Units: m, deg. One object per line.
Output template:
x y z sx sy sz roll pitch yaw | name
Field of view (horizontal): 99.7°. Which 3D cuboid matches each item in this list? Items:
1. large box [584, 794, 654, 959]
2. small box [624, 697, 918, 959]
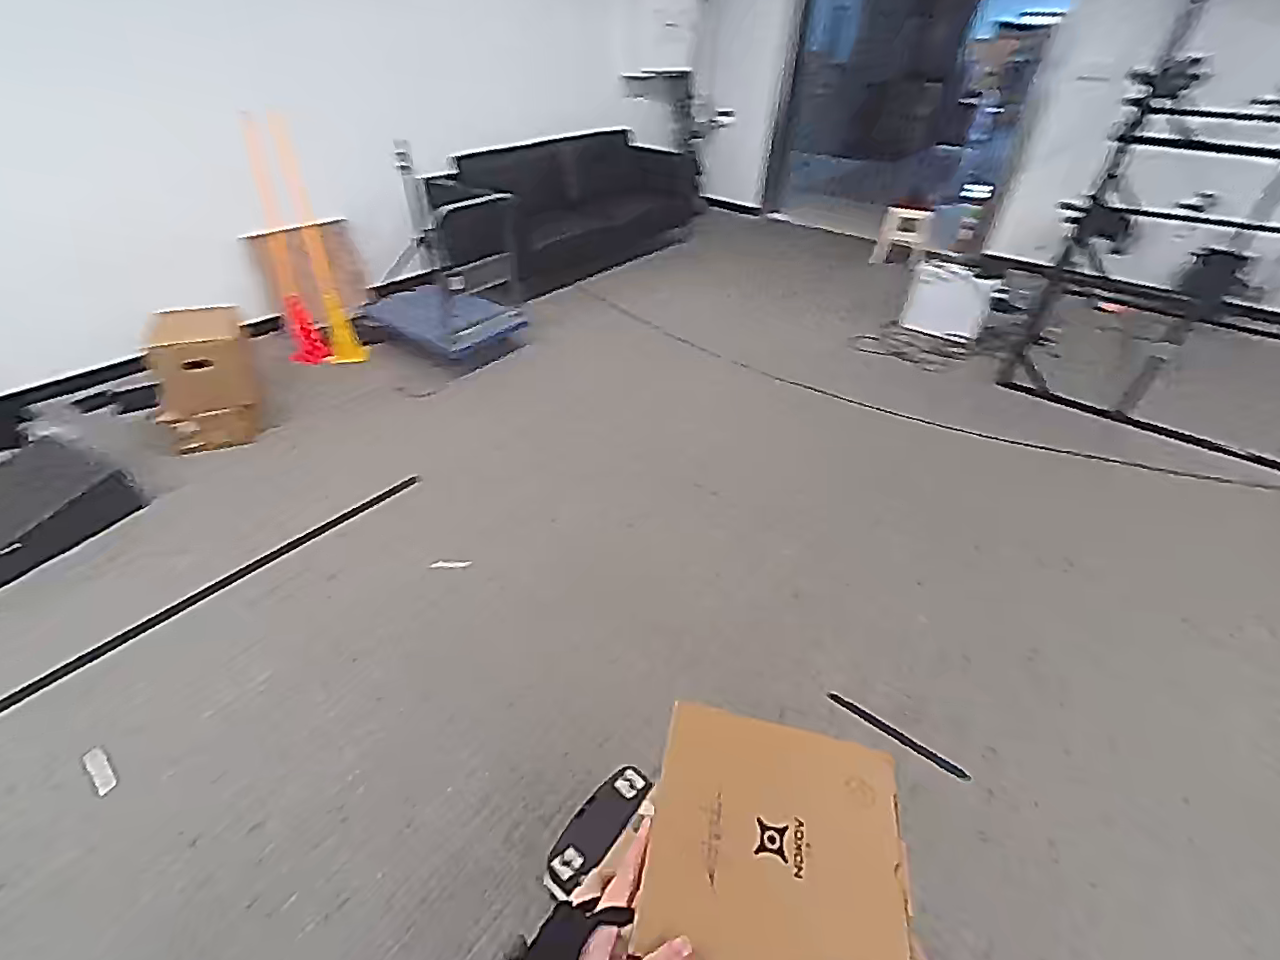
0.162 0.762 0.933 0.408 0.320 0.320 26 45 29 | large box
0.091 0.303 0.424 0.179 0.176 0.168 10 44 8 | small box
